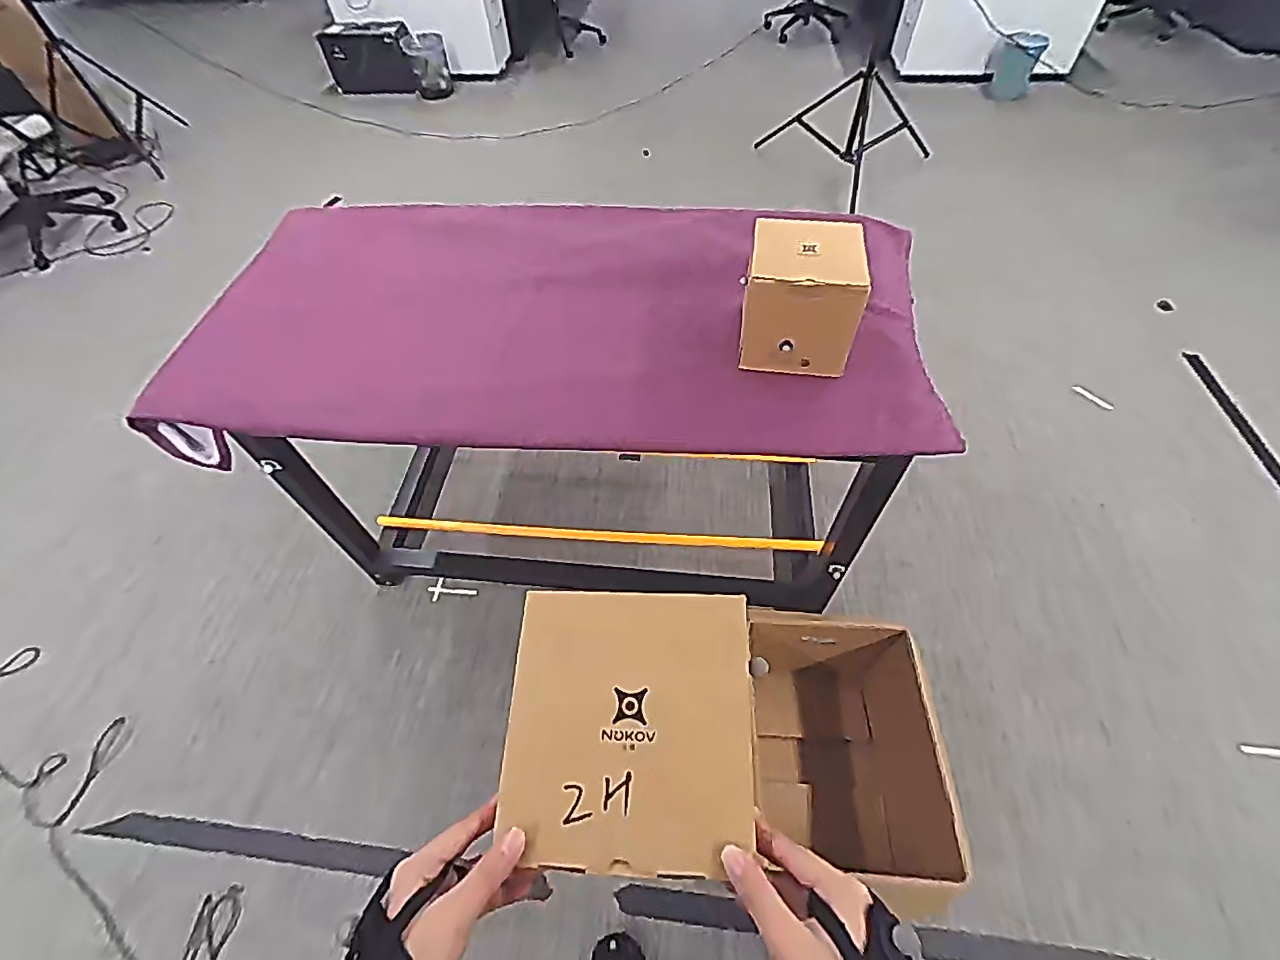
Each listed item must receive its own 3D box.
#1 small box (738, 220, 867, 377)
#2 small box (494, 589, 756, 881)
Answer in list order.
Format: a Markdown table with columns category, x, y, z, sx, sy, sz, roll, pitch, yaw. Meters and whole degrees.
| category | x | y | z | sx | sy | sz | roll | pitch | yaw |
| --- | --- | --- | --- | --- | --- | --- | --- | --- | --- |
| small box | 0.251 | -0.292 | 0.871 | 0.168 | 0.176 | 0.179 | 6 | 53 | 8 |
| small box | -0.001 | 0.195 | 0.437 | 0.168 | 0.176 | 0.179 | -1 | 65 | 6 |
